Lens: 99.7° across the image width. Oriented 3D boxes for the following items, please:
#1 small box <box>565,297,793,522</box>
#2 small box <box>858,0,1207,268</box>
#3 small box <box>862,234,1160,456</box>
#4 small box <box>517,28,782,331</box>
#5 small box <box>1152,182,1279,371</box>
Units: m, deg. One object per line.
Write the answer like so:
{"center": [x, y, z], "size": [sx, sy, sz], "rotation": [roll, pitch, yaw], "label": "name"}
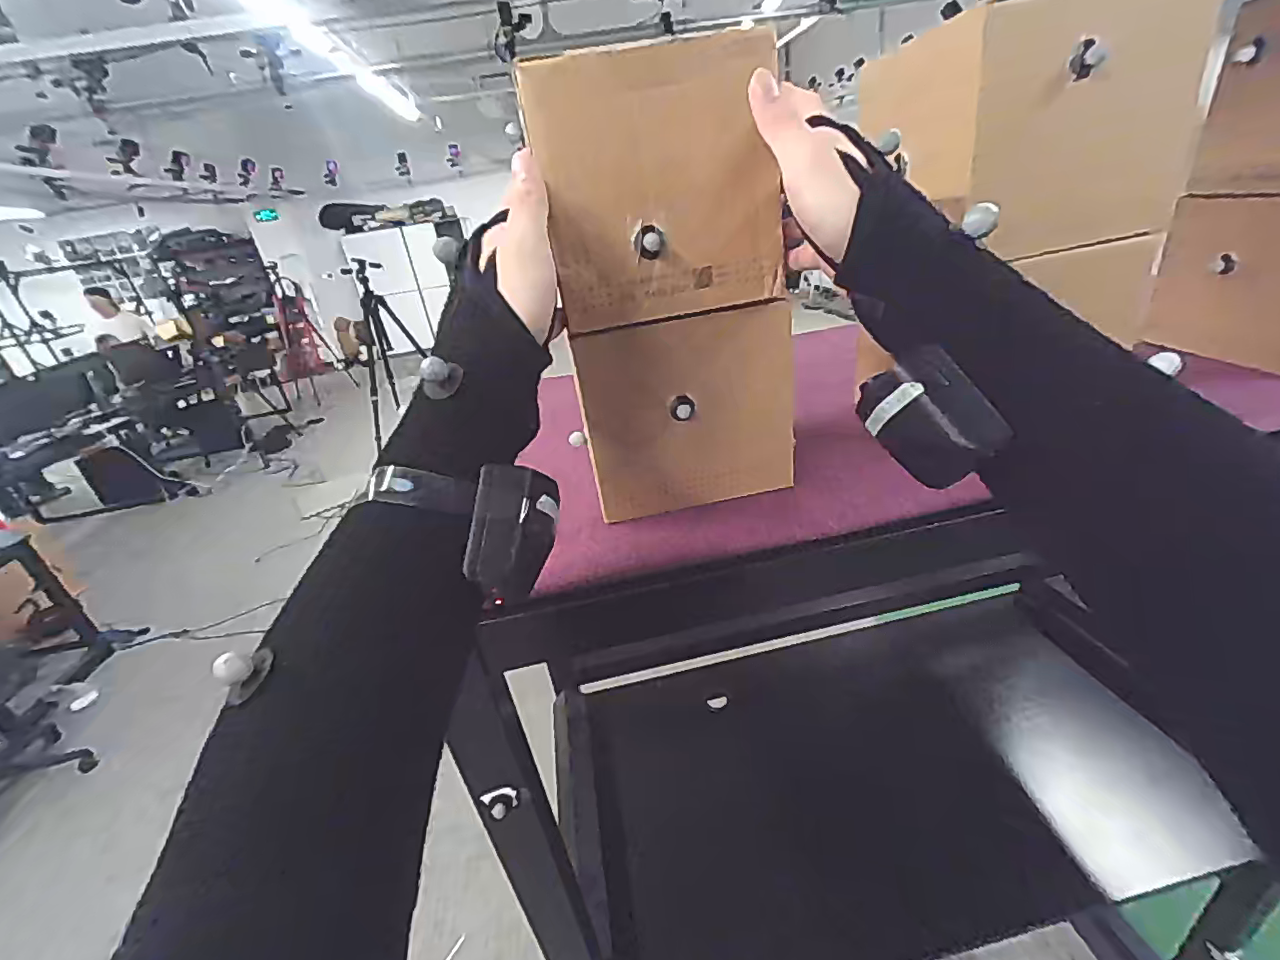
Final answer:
{"center": [0.032, -0.081, 0.513], "size": [0.179, 0.176, 0.168], "rotation": [-12, 26, -4], "label": "small box"}
{"center": [0.306, -0.282, 0.457], "size": [0.179, 0.176, 0.168], "rotation": [-12, 26, -2], "label": "small box"}
{"center": [0.334, -0.139, 0.533], "size": [0.168, 0.176, 0.179], "rotation": [-11, 26, -2], "label": "small box"}
{"center": [0.007, -0.226, 0.439], "size": [0.168, 0.176, 0.179], "rotation": [-12, 27, -3], "label": "small box"}
{"center": [0.704, -0.220, 0.567], "size": [0.168, 0.176, 0.179], "rotation": [-11, 26, -1], "label": "small box"}
